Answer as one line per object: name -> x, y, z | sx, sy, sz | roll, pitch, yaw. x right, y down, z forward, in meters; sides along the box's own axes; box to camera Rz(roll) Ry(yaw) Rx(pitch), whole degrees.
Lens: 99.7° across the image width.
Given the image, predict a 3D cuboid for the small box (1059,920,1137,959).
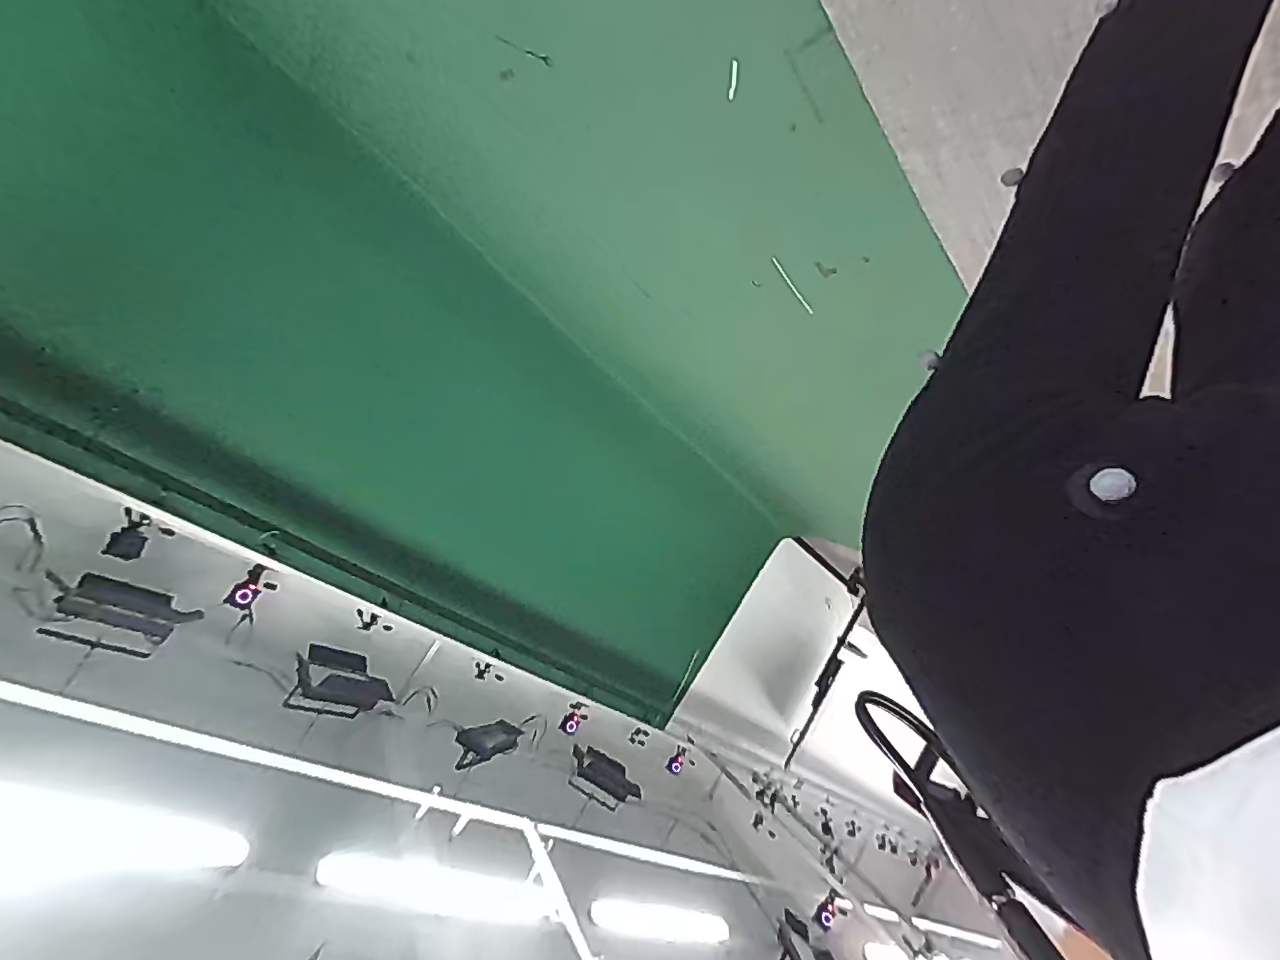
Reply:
small box -> 1.384, 1.467, 1.609 | 0.168, 0.176, 0.179 | 38, 172, -30
